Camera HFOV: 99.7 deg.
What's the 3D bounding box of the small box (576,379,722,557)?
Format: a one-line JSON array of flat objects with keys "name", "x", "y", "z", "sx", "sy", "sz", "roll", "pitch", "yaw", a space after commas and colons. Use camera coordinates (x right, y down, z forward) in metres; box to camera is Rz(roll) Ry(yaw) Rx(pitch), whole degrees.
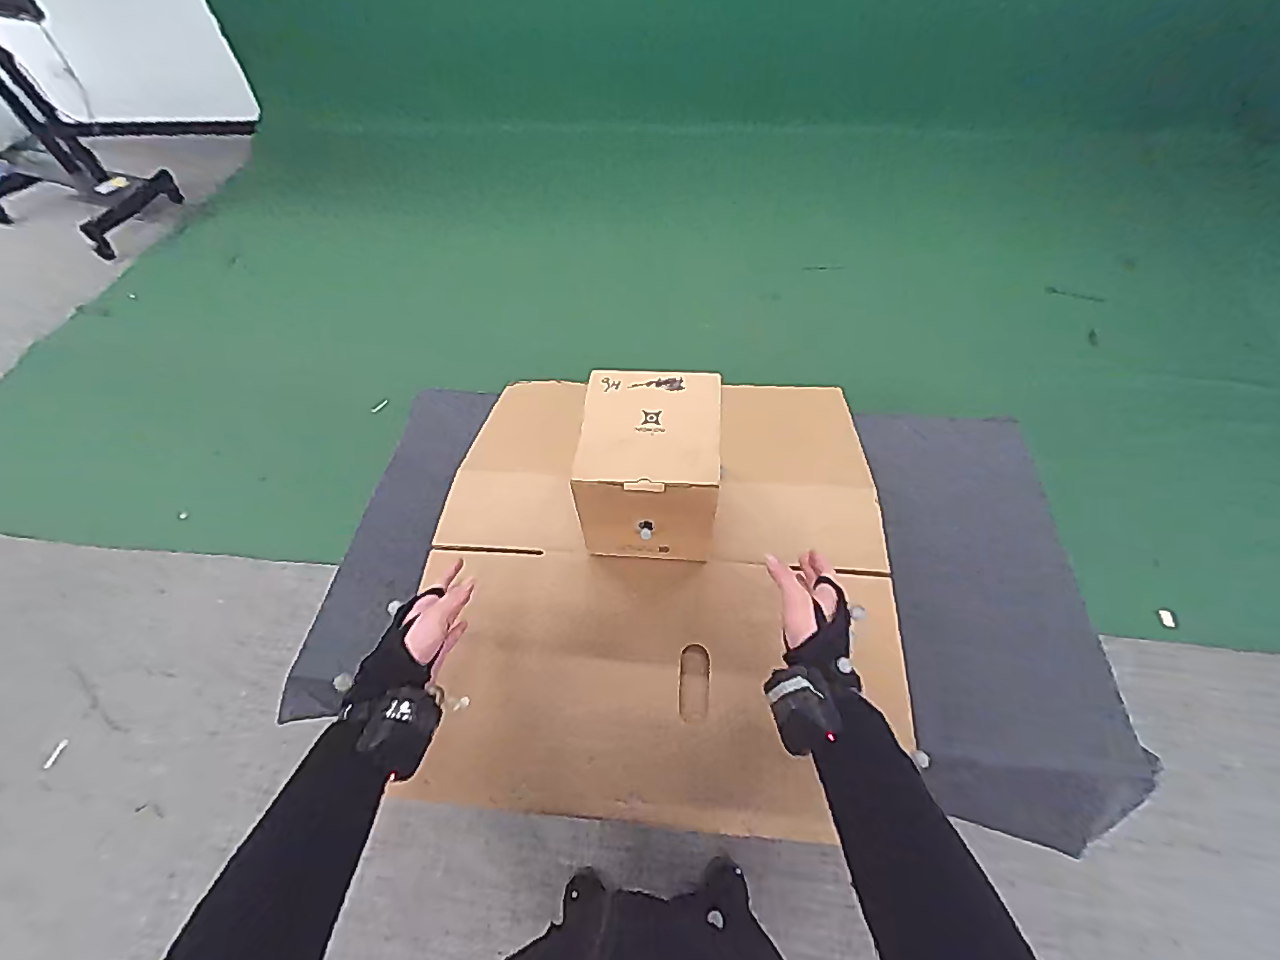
[{"name": "small box", "x": 0.020, "y": -0.010, "z": 0.705, "sx": 0.168, "sy": 0.176, "sz": 0.179, "roll": 0, "pitch": 54, "yaw": 4}]
